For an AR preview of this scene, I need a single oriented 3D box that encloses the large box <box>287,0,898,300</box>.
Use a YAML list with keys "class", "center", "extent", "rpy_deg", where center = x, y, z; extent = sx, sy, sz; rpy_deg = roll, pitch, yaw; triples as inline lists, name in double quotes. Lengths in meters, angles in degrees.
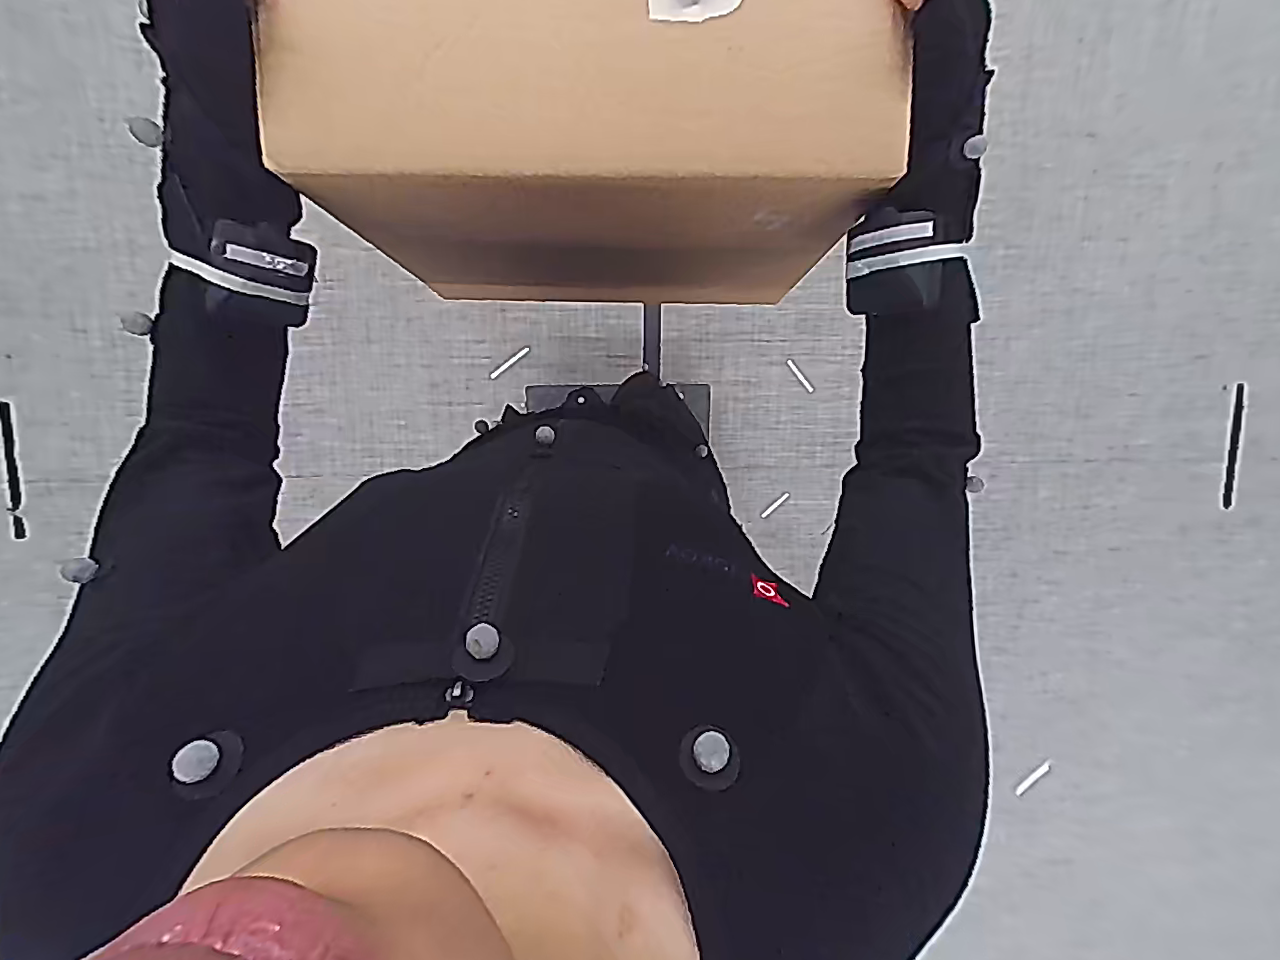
- class: "large box"
  center: [-0.031, -0.364, 0.497]
  extent: [0.408, 0.320, 0.320]
  rpy_deg: [0, 94, 0]
